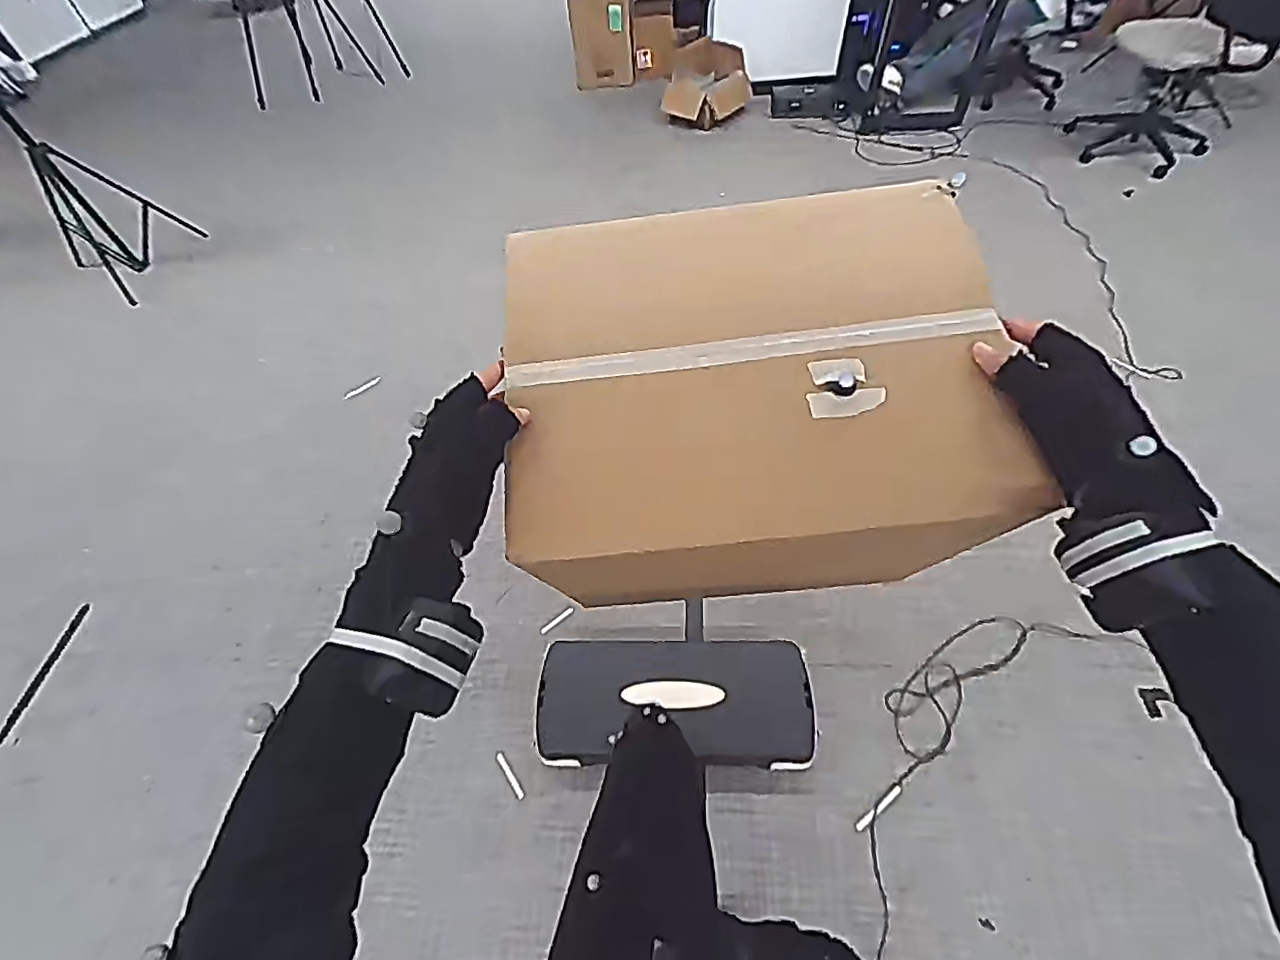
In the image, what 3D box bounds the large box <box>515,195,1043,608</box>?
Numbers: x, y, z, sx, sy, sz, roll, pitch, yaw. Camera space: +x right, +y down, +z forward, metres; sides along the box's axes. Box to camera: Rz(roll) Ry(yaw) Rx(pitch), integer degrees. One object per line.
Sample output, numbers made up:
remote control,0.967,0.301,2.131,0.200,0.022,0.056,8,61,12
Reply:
large box,0.100,-0.051,0.599,0.408,0.320,0.320,-6,70,2
